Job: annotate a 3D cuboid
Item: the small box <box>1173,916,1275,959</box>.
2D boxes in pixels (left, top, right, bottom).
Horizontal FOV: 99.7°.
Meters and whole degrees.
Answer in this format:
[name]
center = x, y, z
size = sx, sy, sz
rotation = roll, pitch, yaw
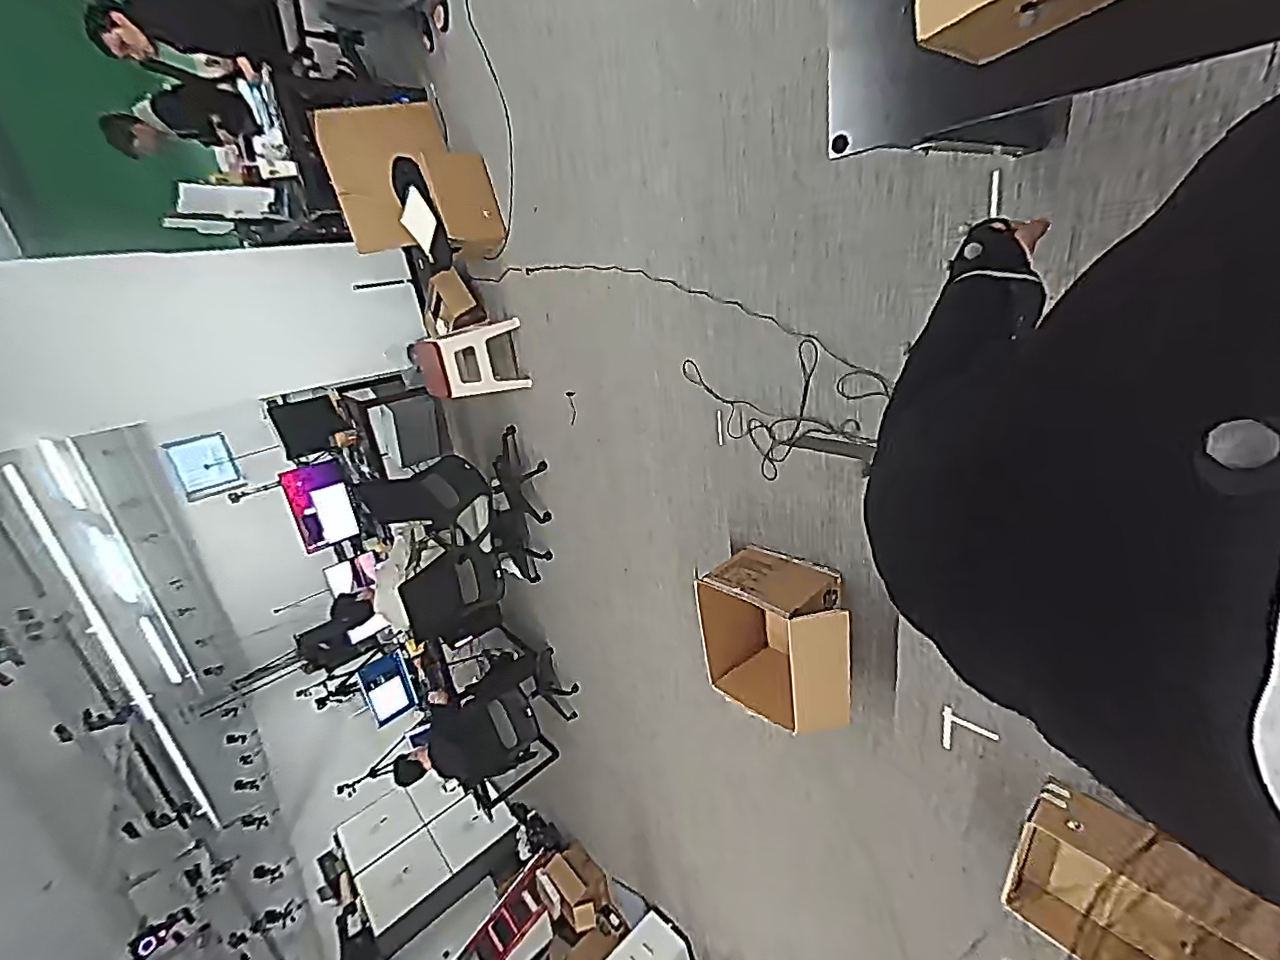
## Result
[small box]
center = 1.416, 1.216, 1.295
size = 0.179, 0.176, 0.168
rotation = 22, 123, 45
